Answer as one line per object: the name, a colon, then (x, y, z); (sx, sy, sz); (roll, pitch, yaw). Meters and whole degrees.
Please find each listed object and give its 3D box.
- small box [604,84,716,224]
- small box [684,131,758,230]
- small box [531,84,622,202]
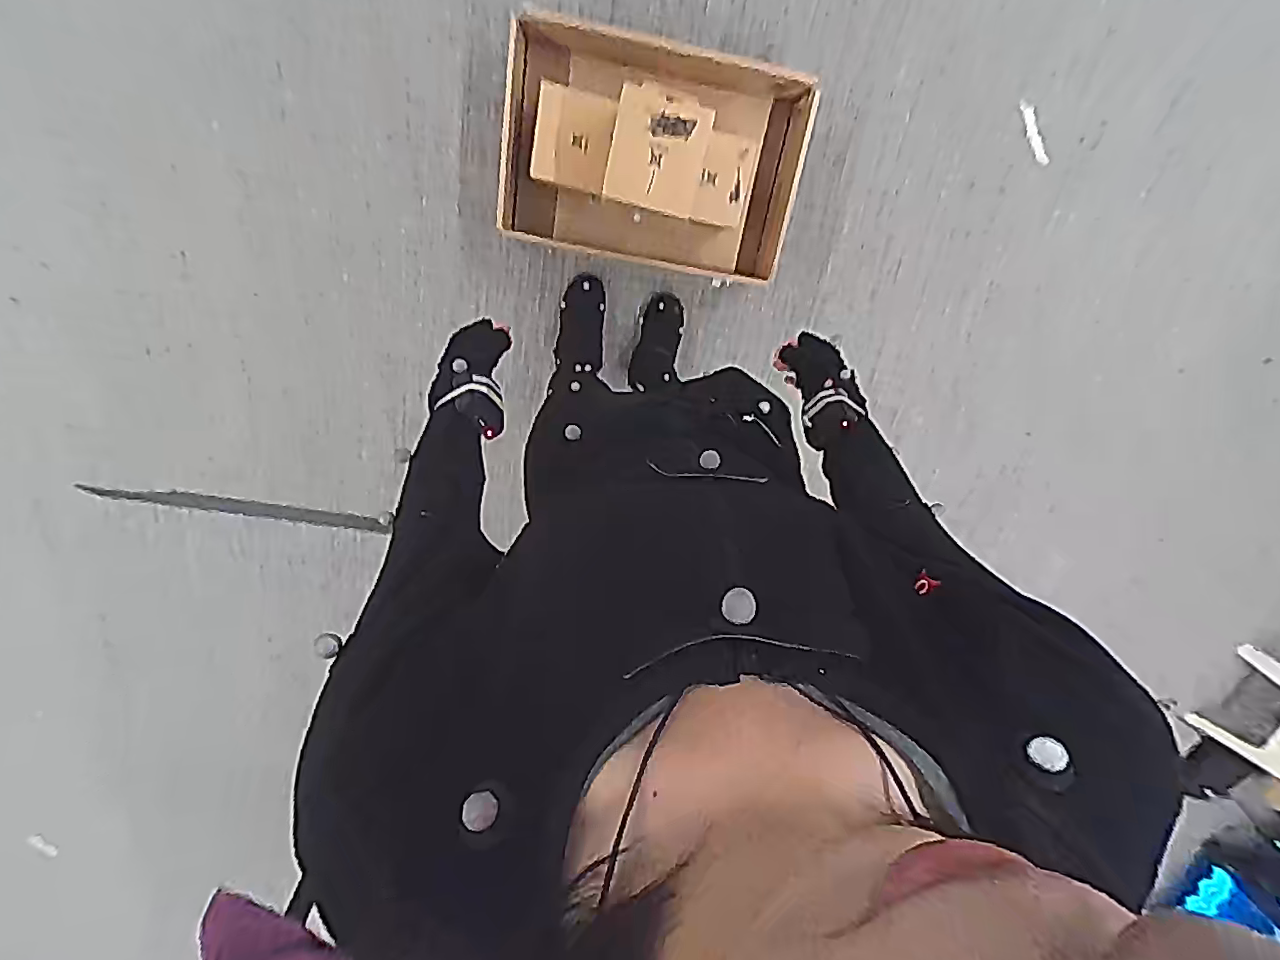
small box: (0.028, -0.598, 1.017); (0.168, 0.176, 0.179); (12, 112, -9)
small box: (0.137, -0.652, 1.183); (0.179, 0.176, 0.168); (10, 112, -6)
small box: (-0.124, -0.697, 1.142); (0.179, 0.176, 0.168); (10, 111, -8)
